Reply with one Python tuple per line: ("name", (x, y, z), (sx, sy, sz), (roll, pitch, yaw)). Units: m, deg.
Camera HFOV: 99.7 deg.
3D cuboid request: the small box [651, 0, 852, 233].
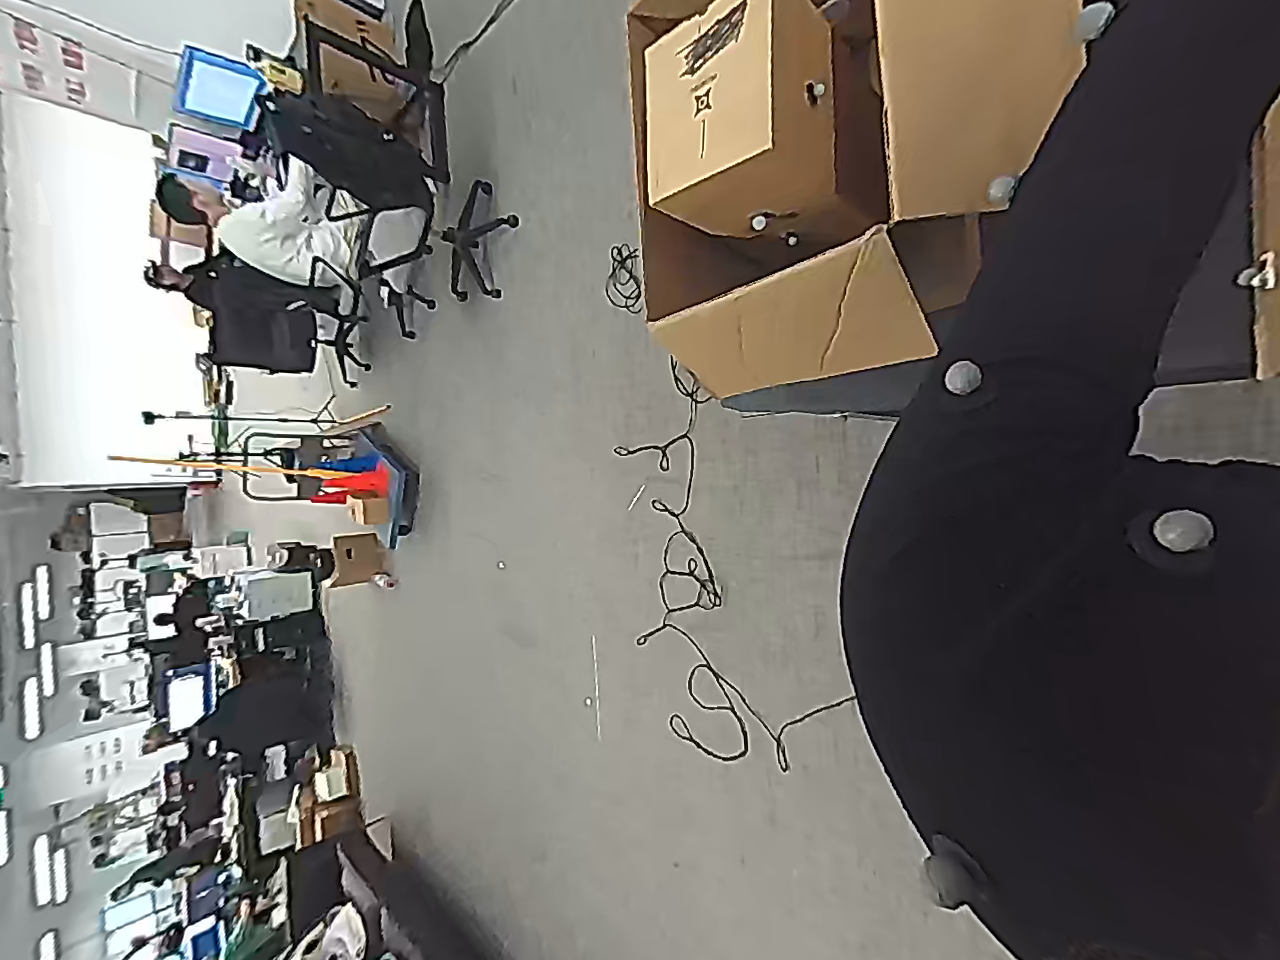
("small box", (0.129, -0.412, 0.619), (0.168, 0.176, 0.179), (2, 96, 44))
